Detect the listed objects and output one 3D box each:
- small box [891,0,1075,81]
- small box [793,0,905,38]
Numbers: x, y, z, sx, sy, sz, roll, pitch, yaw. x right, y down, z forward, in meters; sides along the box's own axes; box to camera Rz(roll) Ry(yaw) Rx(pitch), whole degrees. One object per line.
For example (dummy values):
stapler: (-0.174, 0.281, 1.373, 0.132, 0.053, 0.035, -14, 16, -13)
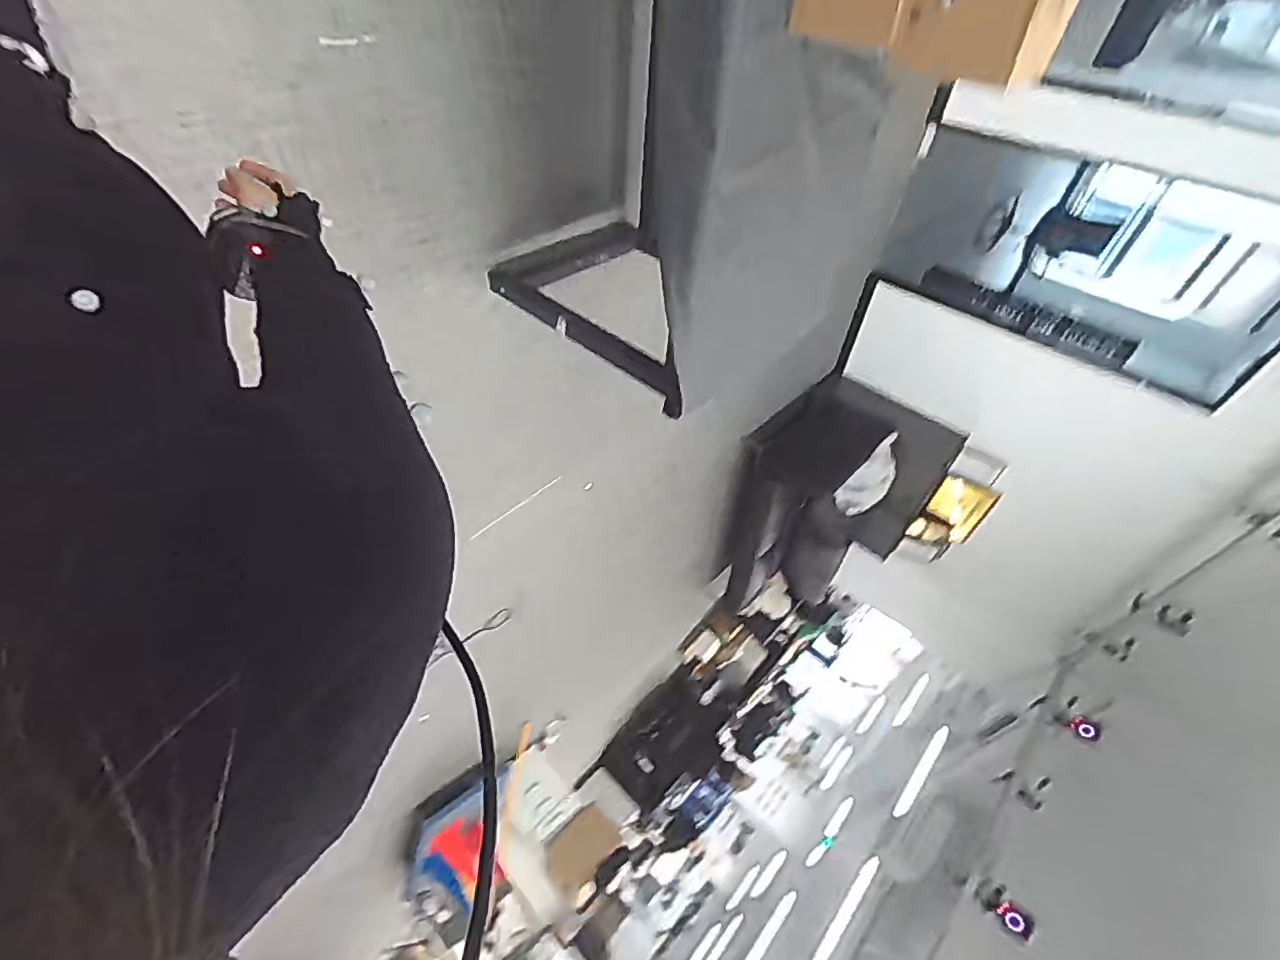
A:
small box: (0.470, -0.653, 0.714, 0.179, 0.176, 0.168, -37, 149, -31)
small box: (0.346, -0.746, 0.771, 0.179, 0.176, 0.168, -36, 149, -34)
